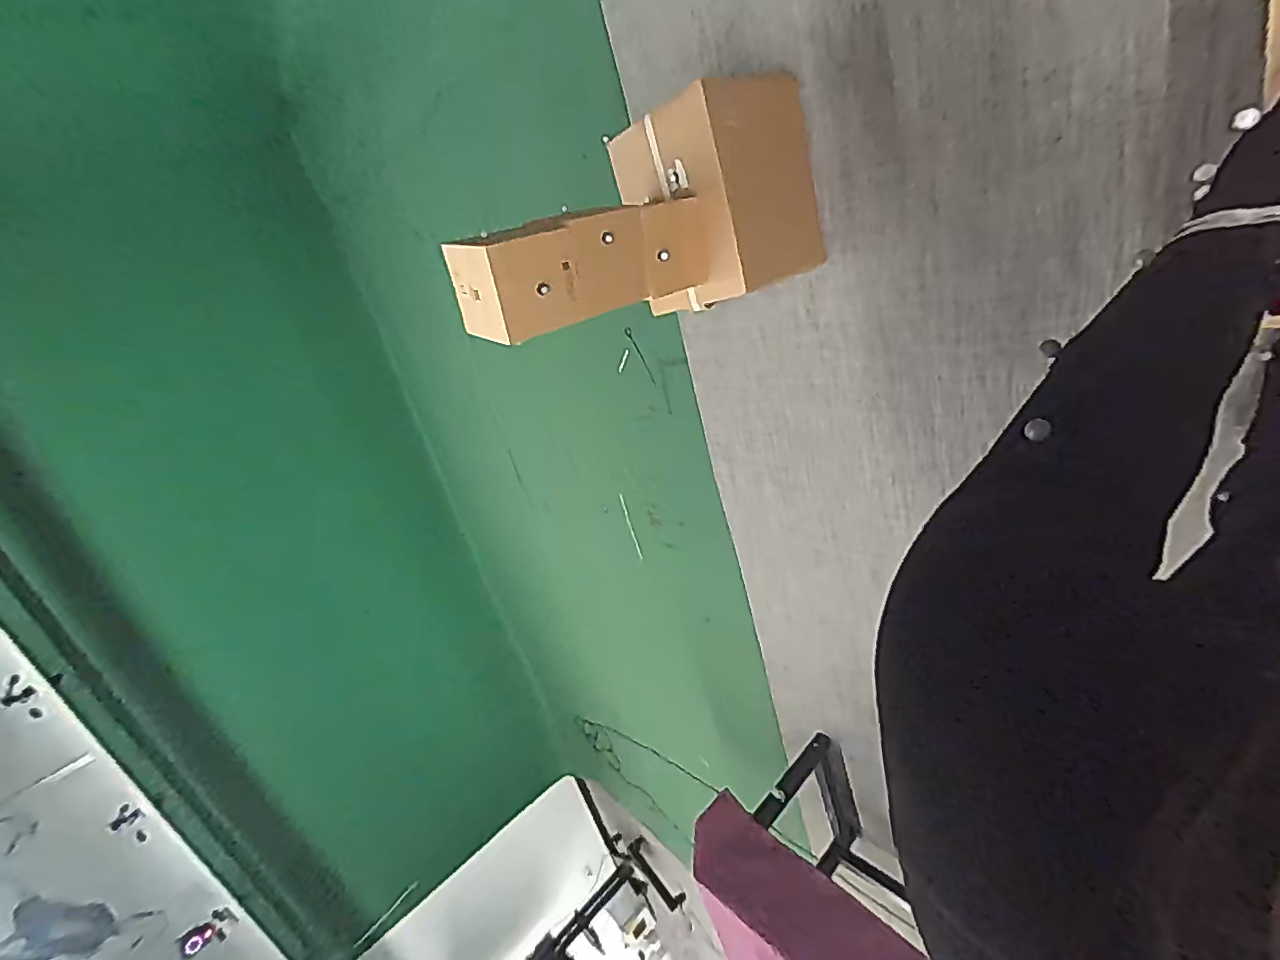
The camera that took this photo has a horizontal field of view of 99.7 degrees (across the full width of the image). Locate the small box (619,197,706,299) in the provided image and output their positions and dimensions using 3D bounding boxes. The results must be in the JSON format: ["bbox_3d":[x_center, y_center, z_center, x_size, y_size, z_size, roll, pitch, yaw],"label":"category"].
[{"bbox_3d":[0.022,-0.502,1.164,0.168,0.176,0.179,22,132,45],"label":"small box"}]

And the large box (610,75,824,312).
[{"bbox_3d":[0.188,-0.651,1.271,0.320,0.320,0.408,8,121,51],"label":"large box"}]

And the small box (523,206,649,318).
[{"bbox_3d":[-0.102,-0.440,1.078,0.168,0.176,0.179,26,136,43],"label":"small box"}]

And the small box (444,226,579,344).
[{"bbox_3d":[-0.227,-0.367,1.000,0.179,0.176,0.168,26,135,42],"label":"small box"}]
